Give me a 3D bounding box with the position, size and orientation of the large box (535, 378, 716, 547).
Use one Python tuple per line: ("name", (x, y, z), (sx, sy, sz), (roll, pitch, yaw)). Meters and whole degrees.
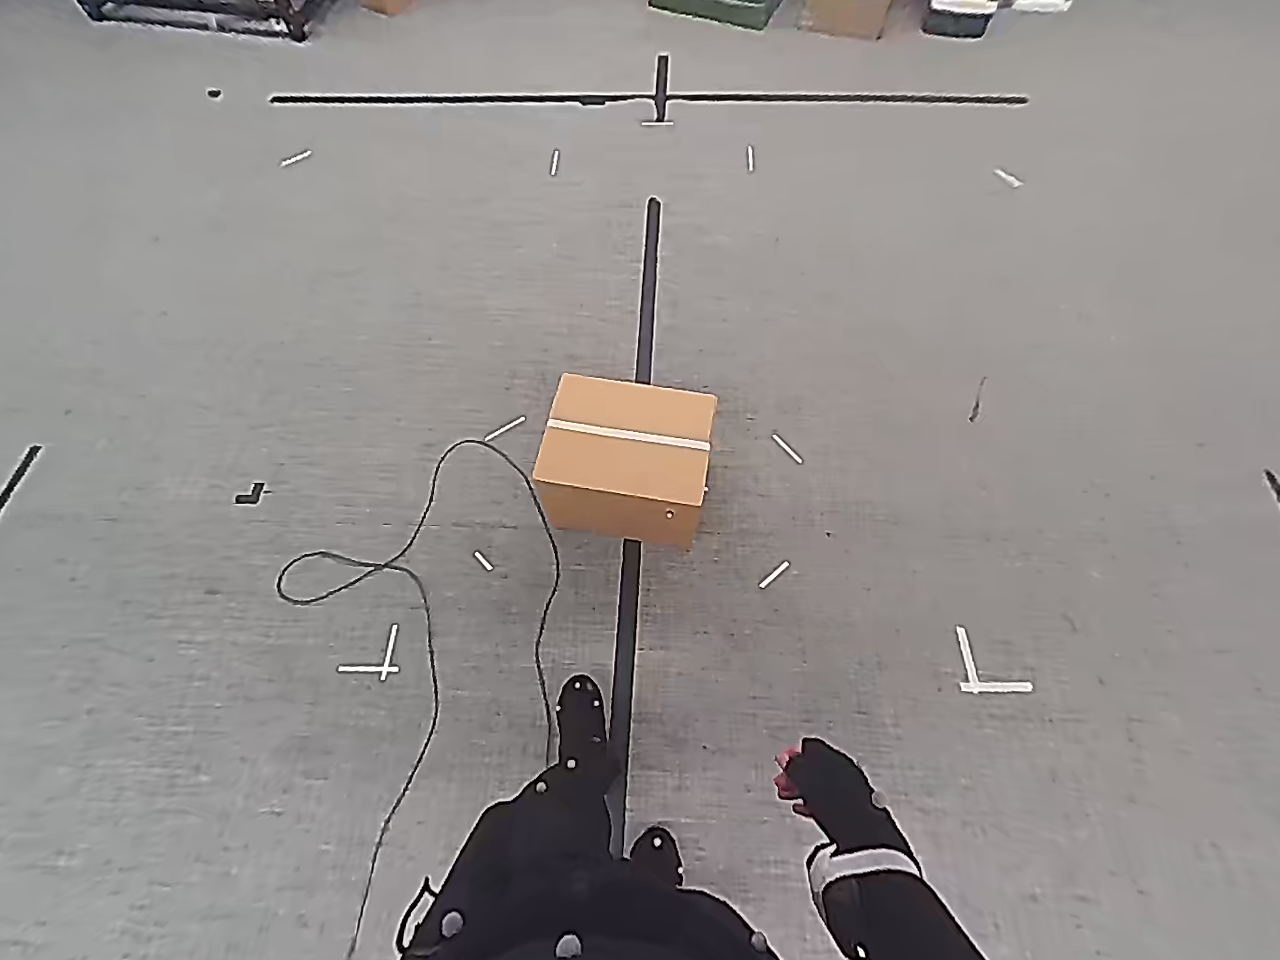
("large box", (-0.026, -0.035, 1.443), (0.408, 0.320, 0.320), (9, 64, 4))
